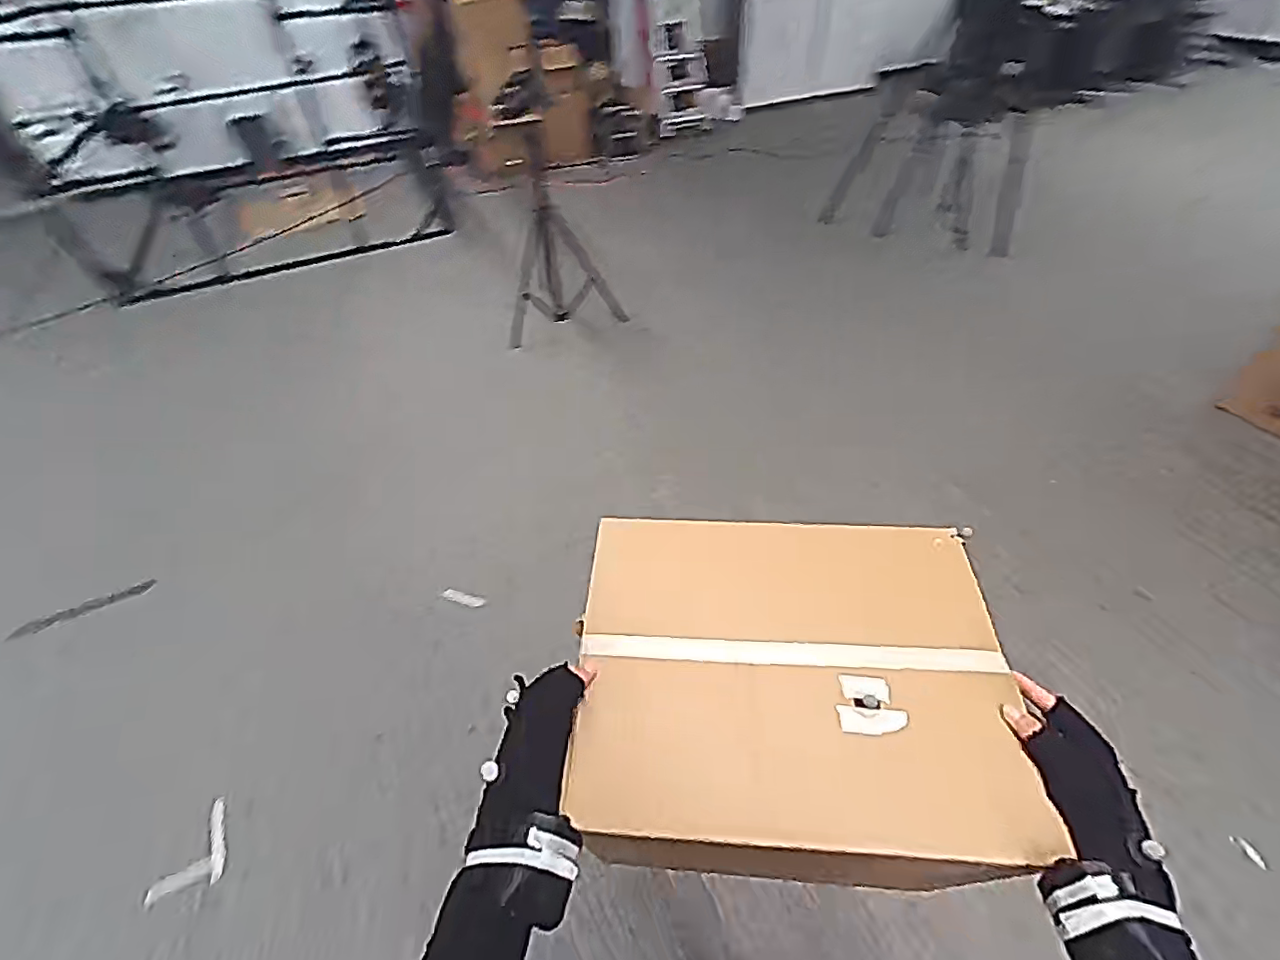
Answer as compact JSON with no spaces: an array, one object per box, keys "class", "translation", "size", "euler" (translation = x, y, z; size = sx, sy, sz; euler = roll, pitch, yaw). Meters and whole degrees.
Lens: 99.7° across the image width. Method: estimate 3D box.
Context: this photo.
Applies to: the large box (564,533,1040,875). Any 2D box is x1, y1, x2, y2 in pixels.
[{"class":"large box","translation":[0.139,0.276,0.657],"size":[0.408,0.320,0.320],"euler":[0,51,3]}]
